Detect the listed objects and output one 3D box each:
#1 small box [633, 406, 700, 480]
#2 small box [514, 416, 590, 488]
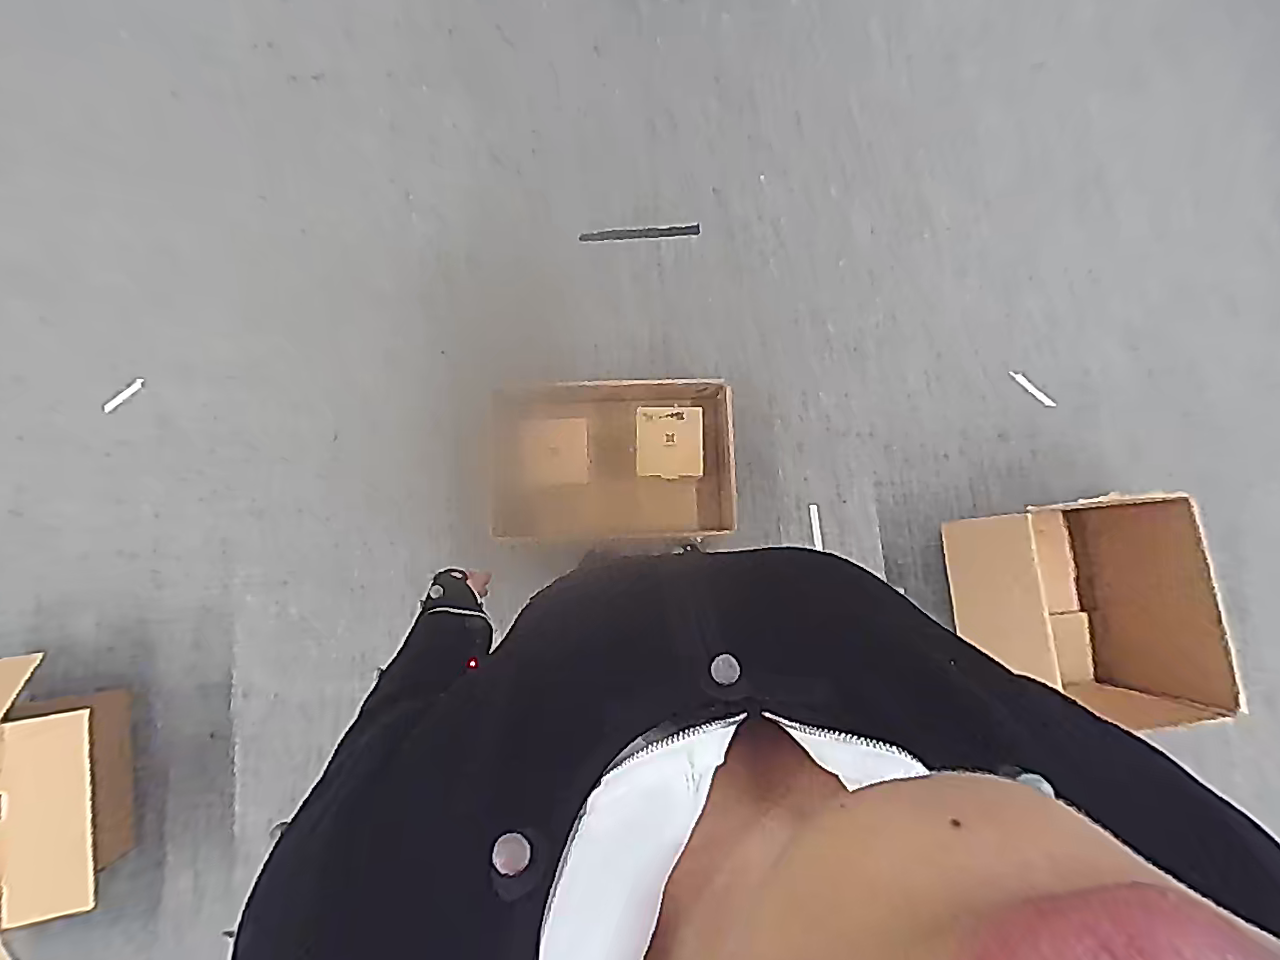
[{"bbox_3d":[0.065,-0.091,1.412,0.168,0.176,0.179,0,85,-1],"label":"small box"},{"bbox_3d":[-0.223,-0.067,1.399,0.179,0.176,0.168,-2,86,-4],"label":"small box"}]
